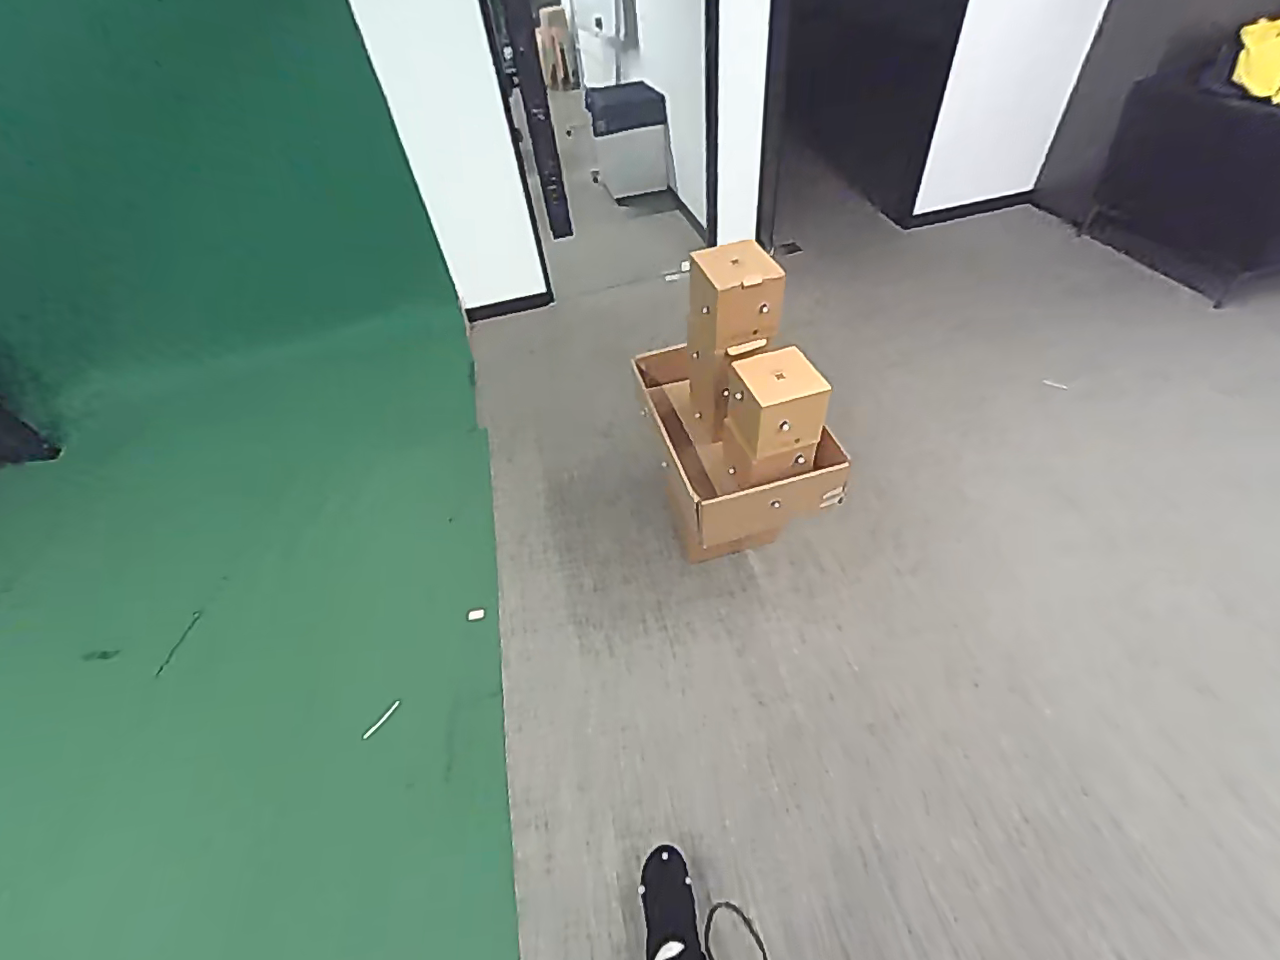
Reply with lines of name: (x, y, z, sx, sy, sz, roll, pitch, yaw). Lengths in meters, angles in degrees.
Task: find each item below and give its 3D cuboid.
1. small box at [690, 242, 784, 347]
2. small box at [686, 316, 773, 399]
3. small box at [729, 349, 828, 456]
small box: (0.227, -0.439, 1.303, 0.168, 0.176, 0.179, -15, 51, -8)
small box: (0.232, -0.334, 1.427, 0.168, 0.176, 0.179, -18, 51, -10)
small box: (0.318, -0.175, 1.274, 0.168, 0.176, 0.179, -15, 48, -7)
